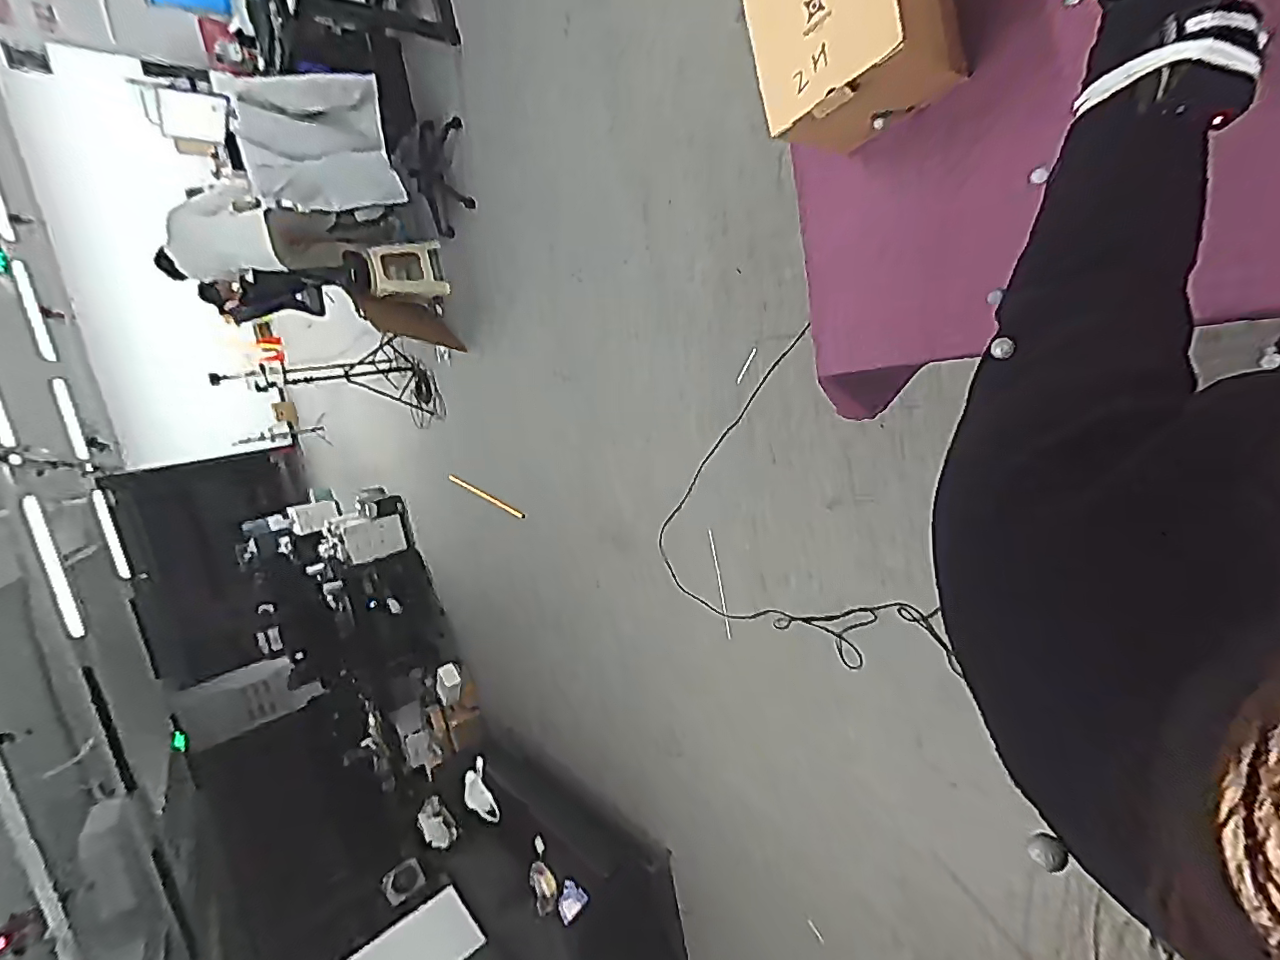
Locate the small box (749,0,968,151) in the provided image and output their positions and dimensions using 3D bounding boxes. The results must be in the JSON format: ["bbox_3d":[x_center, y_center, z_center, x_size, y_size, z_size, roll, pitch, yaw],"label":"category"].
[{"bbox_3d":[0.260,-0.527,0.643,0.168,0.176,0.179,-7,99,53],"label":"small box"}]
